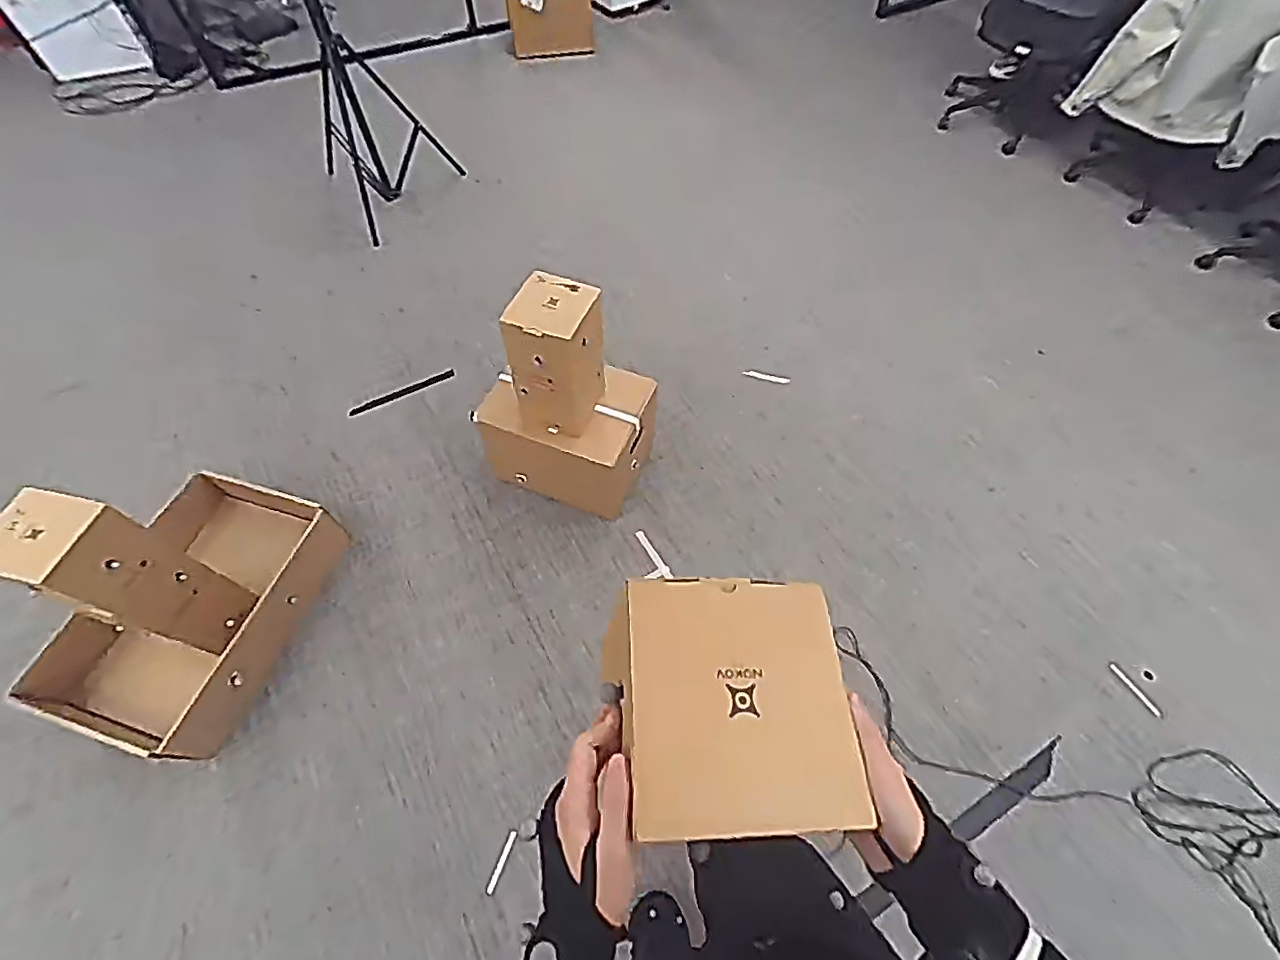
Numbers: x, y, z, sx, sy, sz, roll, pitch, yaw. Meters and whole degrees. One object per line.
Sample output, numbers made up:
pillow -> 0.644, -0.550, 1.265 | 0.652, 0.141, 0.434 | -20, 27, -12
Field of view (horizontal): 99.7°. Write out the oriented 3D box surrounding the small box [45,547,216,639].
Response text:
small box -> -1.099, 0.238, 1.187 | 0.179, 0.176, 0.168 | 11, 58, 6

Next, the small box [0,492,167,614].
small box -> -1.094, 0.148, 1.048 | 0.179, 0.176, 0.168 | 11, 58, 5

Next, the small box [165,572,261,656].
small box -> -1.098, 0.317, 1.329 | 0.179, 0.176, 0.168 | 15, 60, 7

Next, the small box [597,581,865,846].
small box -> 0.055, 0.200, 0.461 | 0.168, 0.176, 0.179 | 3, 56, -10

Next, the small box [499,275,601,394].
small box -> -0.192, -0.325, 1.230 | 0.168, 0.176, 0.179 | 19, 61, 9
